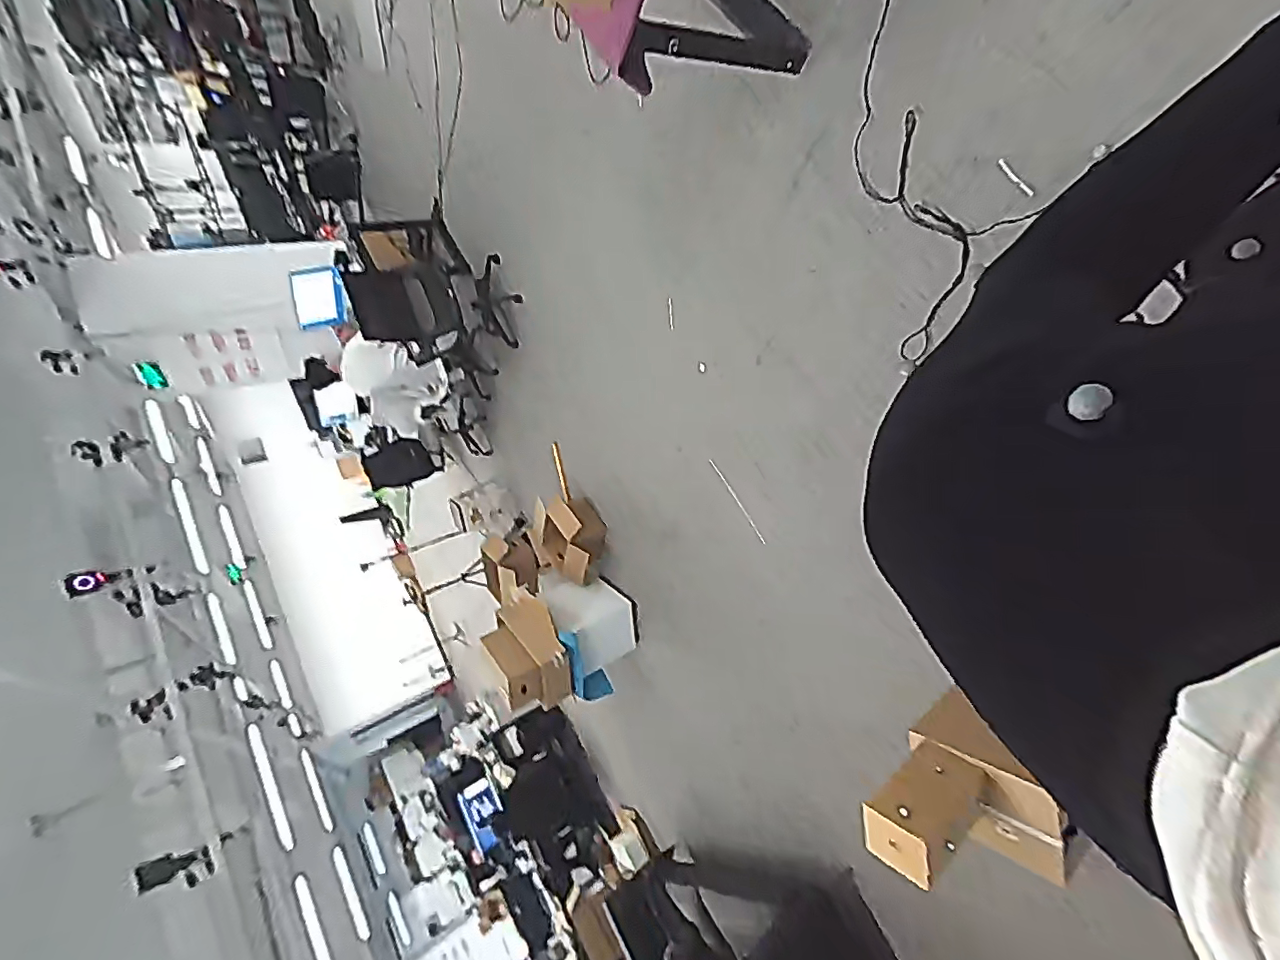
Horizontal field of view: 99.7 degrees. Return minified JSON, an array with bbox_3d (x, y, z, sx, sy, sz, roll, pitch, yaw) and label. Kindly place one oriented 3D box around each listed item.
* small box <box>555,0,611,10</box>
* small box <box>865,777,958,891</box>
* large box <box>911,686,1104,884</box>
[{"bbox_3d":[-0.152,-1.160,1.166,0.179,0.176,0.168,60,147,18],"label":"small box"},{"bbox_3d":[0.753,0.965,1.500,0.179,0.176,0.168,9,114,53],"label":"small box"},{"bbox_3d":[1.129,0.903,1.673,0.408,0.320,0.320,3,111,55],"label":"large box"}]
